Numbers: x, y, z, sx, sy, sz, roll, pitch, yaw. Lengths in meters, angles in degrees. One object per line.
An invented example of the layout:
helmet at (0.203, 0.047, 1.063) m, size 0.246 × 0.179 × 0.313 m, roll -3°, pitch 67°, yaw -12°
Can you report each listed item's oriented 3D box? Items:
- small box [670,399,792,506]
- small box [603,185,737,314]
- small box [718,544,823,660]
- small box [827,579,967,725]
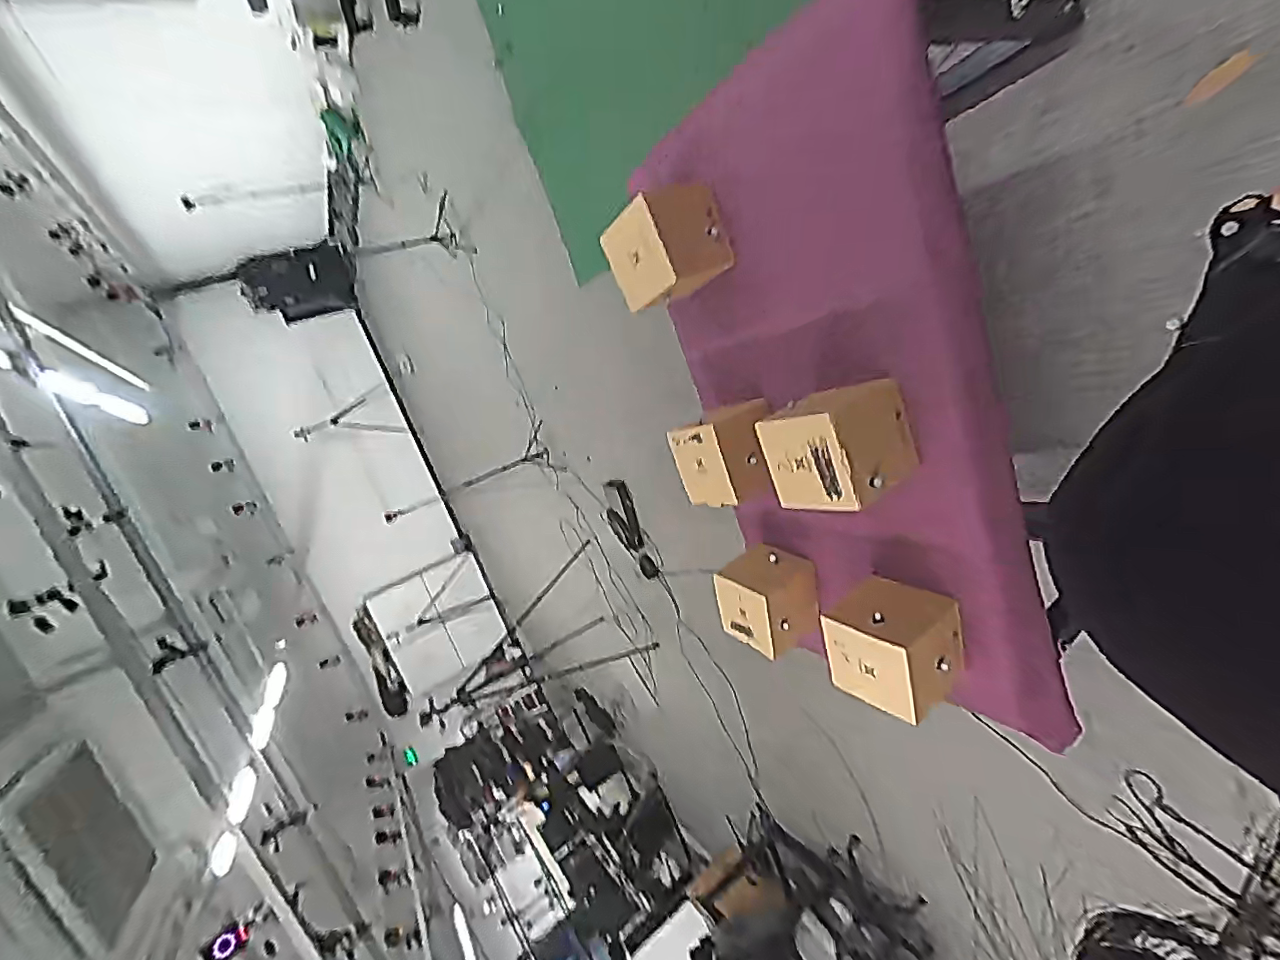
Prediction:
small box at (0.202, -0.058, 1.178) m, size 0.168 × 0.176 × 0.179 m, roll -3°, pitch 112°, yaw 58°
small box at (0.060, -0.455, 1.075) m, size 0.179 × 0.176 × 0.168 m, roll -10°, pitch 106°, yaw 60°
small box at (0.313, 0.281, 1.278) m, size 0.168 × 0.176 × 0.179 m, roll 17°, pitch 127°, yaw 52°
small box at (0.484, 0.306, 1.008) m, size 0.179 × 0.176 × 0.168 m, roll 13°, pitch 124°, yaw 56°
